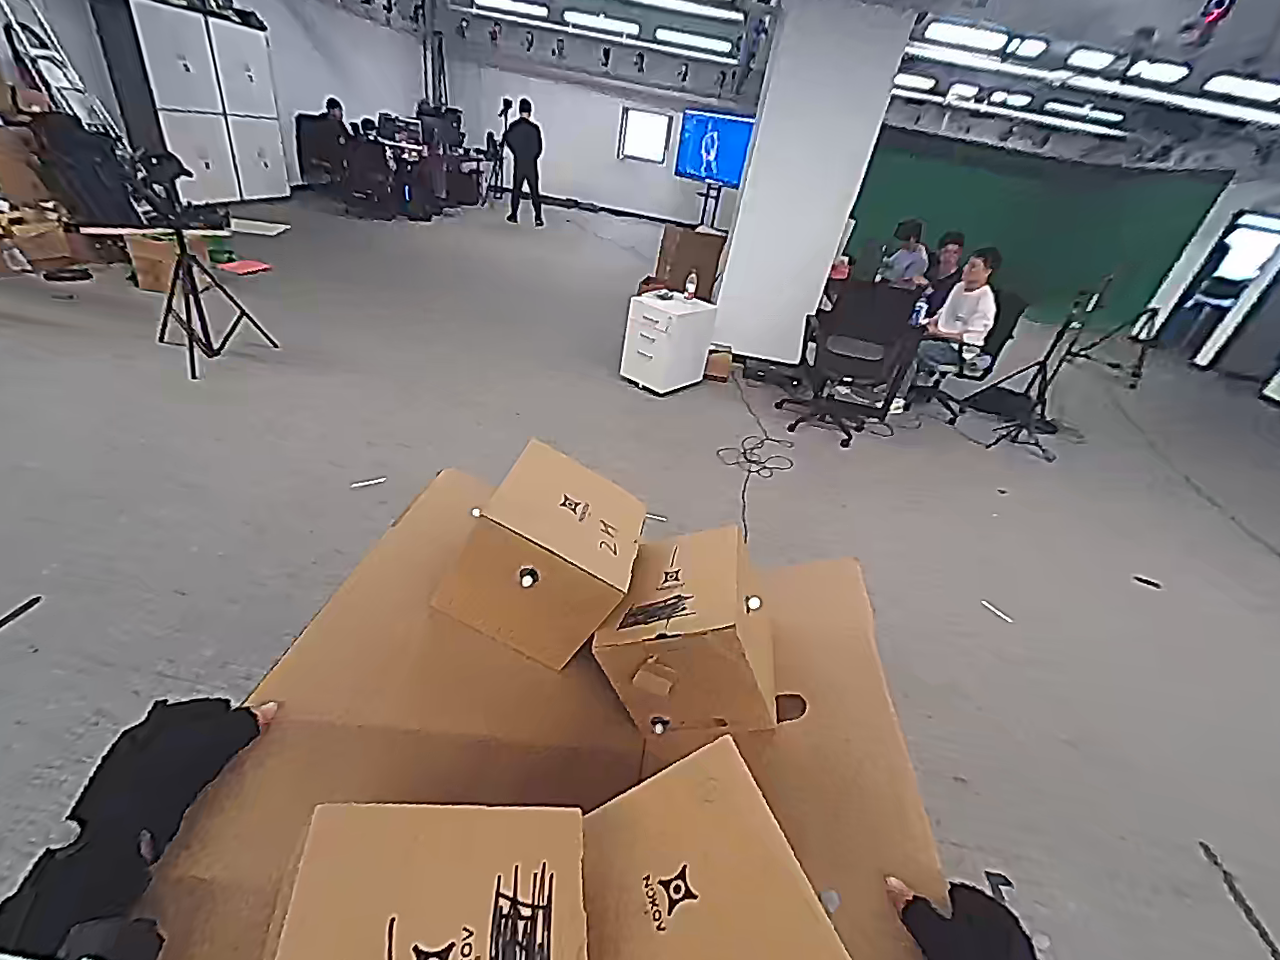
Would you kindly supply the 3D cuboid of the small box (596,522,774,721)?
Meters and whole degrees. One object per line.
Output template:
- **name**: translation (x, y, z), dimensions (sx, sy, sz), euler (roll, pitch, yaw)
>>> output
- **small box**: translation (0.068, 0.183, 0.682), dimensions (0.168, 0.176, 0.179), euler (-13, 28, 19)
